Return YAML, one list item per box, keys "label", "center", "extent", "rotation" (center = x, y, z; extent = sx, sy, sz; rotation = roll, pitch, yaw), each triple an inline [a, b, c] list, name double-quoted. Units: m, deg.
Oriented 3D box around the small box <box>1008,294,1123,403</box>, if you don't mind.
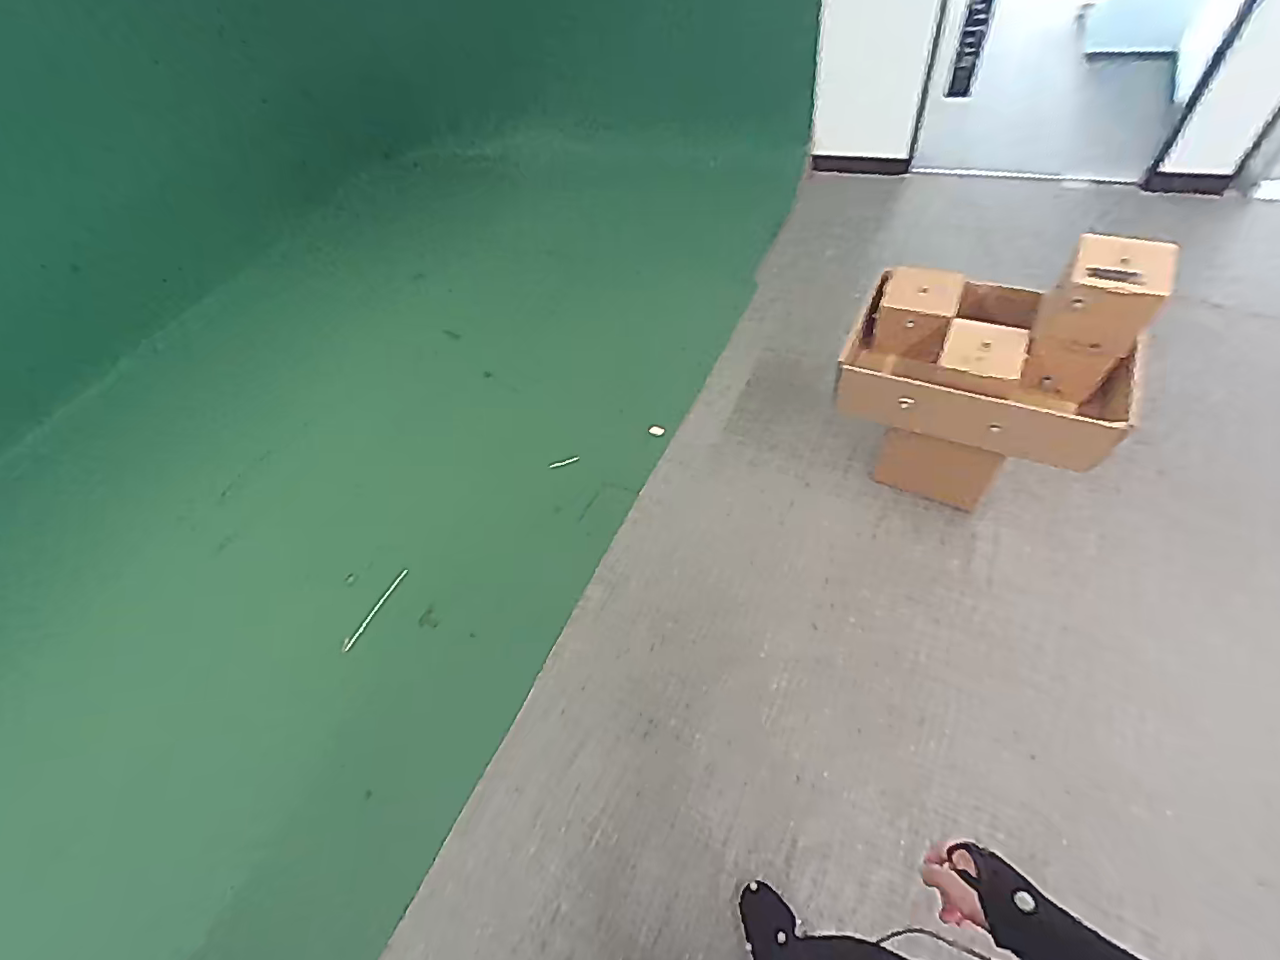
- label: "small box"
  center: [1.039, -0.322, 1.331]
  extent: [0.168, 0.176, 0.179]
  rotation: [20, 64, 23]
